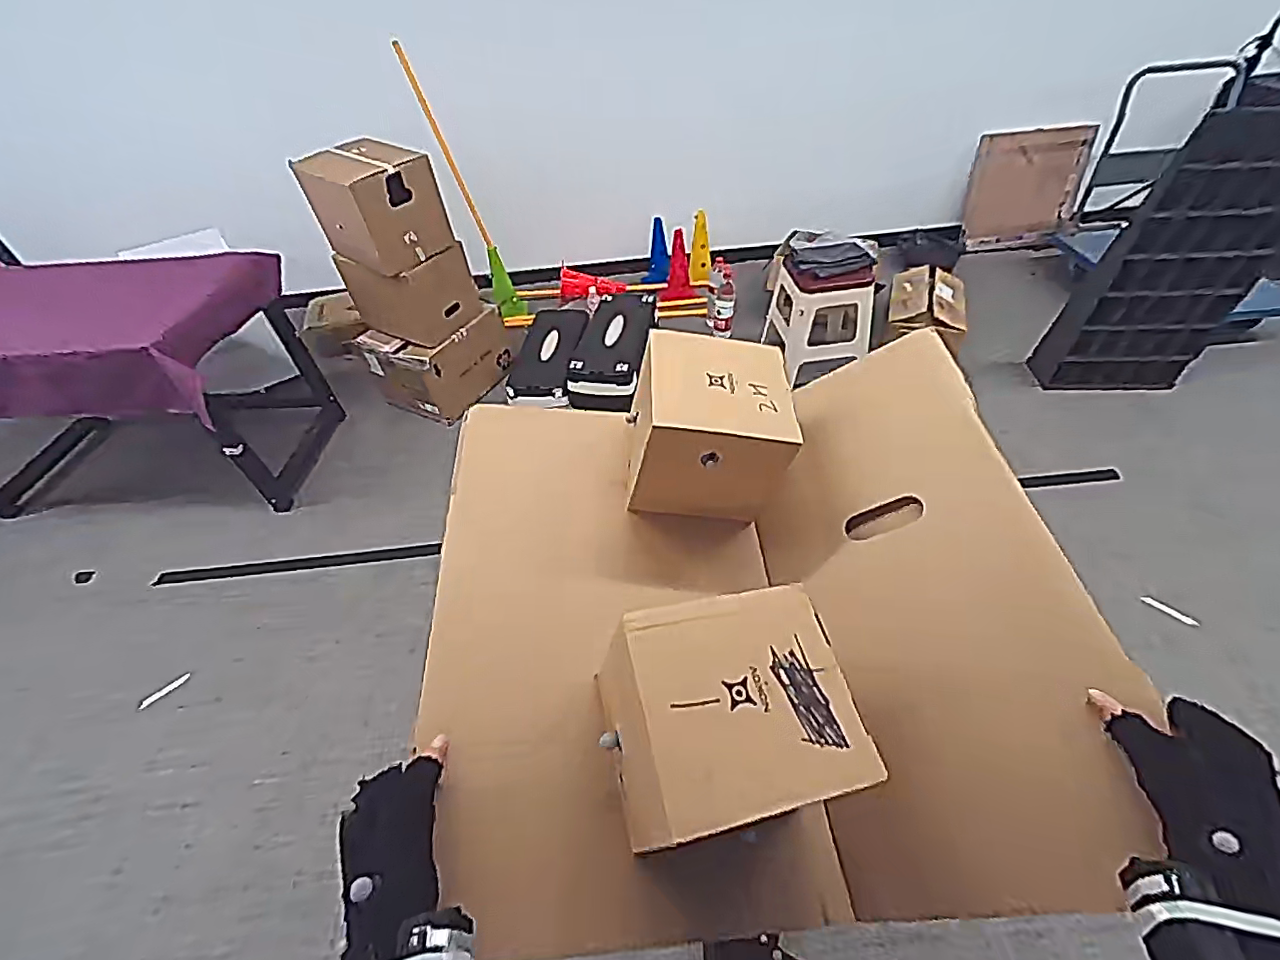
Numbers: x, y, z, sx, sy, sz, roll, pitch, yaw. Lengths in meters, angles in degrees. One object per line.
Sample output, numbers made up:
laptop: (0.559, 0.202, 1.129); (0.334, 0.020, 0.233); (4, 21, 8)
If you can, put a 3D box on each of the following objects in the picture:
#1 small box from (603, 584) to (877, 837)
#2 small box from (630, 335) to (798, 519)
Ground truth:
small box: (0.073, 0.216, 0.504); (0.179, 0.176, 0.168); (-6, 56, -16)
small box: (0.084, -0.064, 0.716); (0.179, 0.176, 0.168); (7, 53, -8)
